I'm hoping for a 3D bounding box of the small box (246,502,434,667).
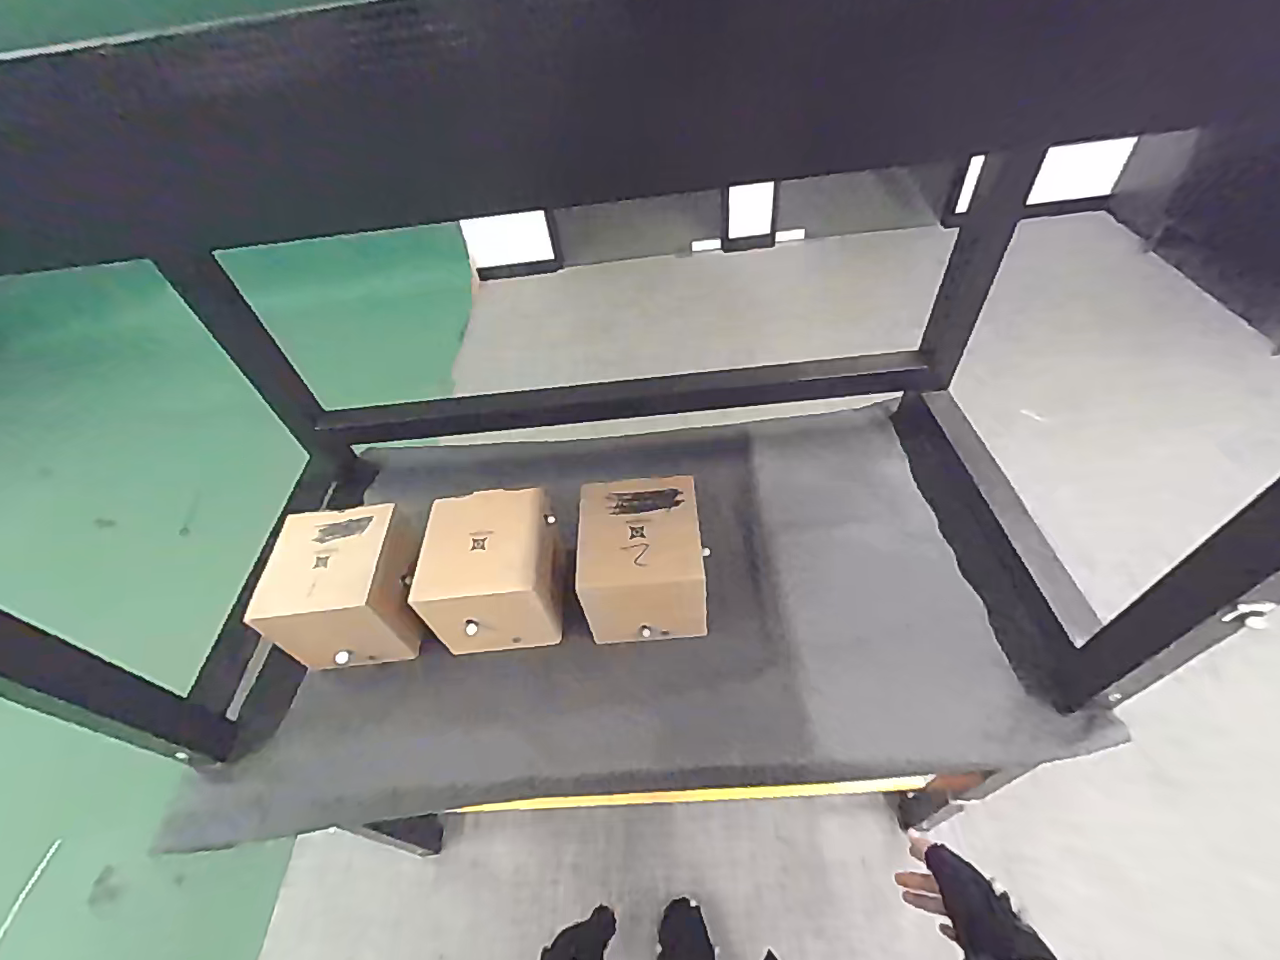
[{"bbox_3d":[-0.431,0.159,0.816,0.168,0.176,0.179,-7,49,2],"label":"small box"}]
